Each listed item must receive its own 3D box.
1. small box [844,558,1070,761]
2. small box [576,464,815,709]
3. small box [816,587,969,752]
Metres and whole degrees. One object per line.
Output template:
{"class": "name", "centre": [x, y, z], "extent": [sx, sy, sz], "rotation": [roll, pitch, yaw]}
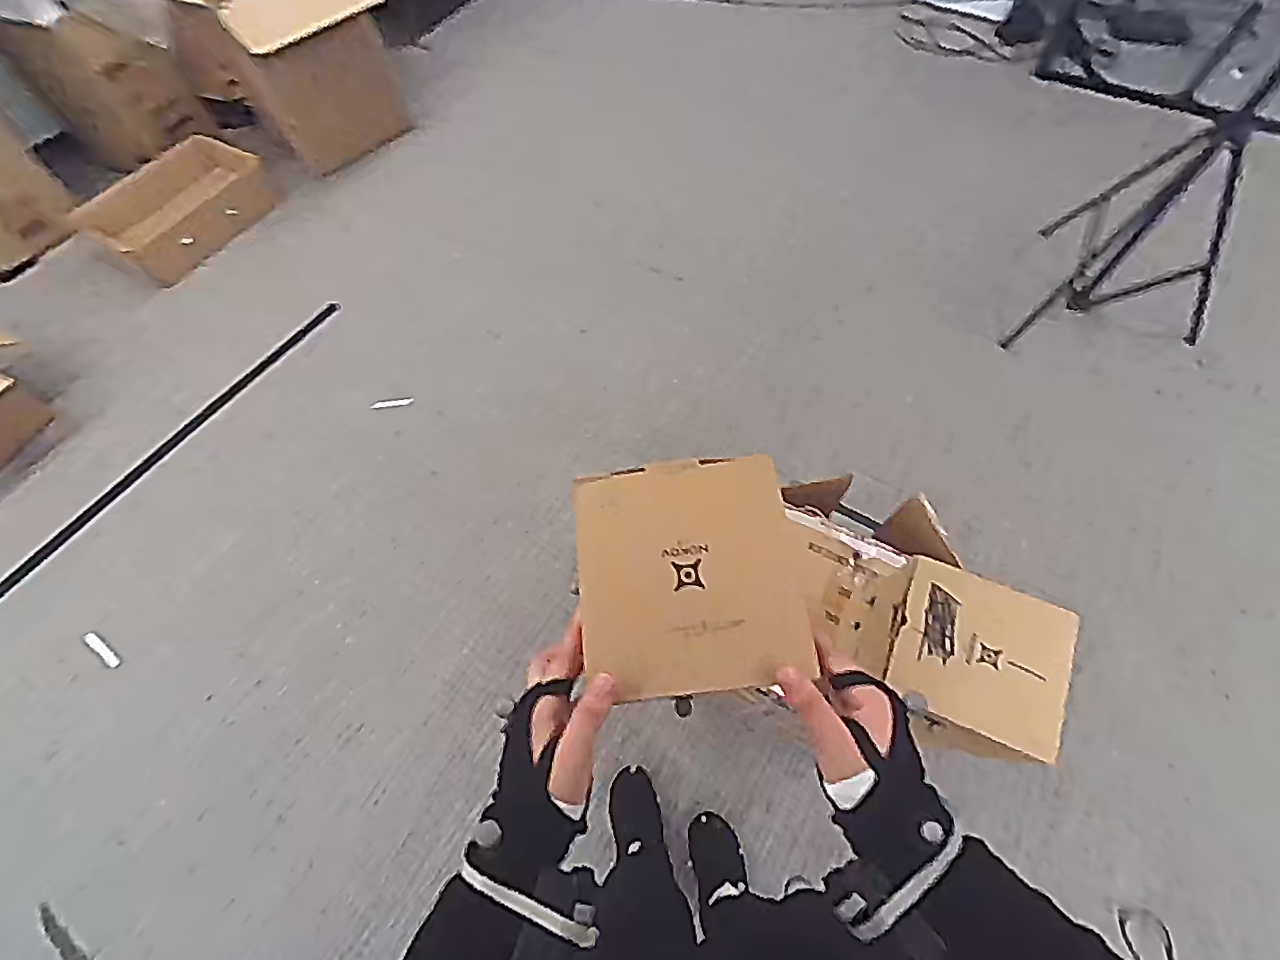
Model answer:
{"class": "small box", "centre": [0.374, 0.222, 0.668], "extent": [0.179, 0.176, 0.168], "rotation": [22, 70, 14]}
{"class": "small box", "centre": [0.038, 0.104, 0.488], "extent": [0.168, 0.176, 0.179], "rotation": [-7, 69, 0]}
{"class": "small box", "centre": [0.391, 0.285, 0.820], "extent": [0.179, 0.176, 0.168], "rotation": [22, 70, 13]}
